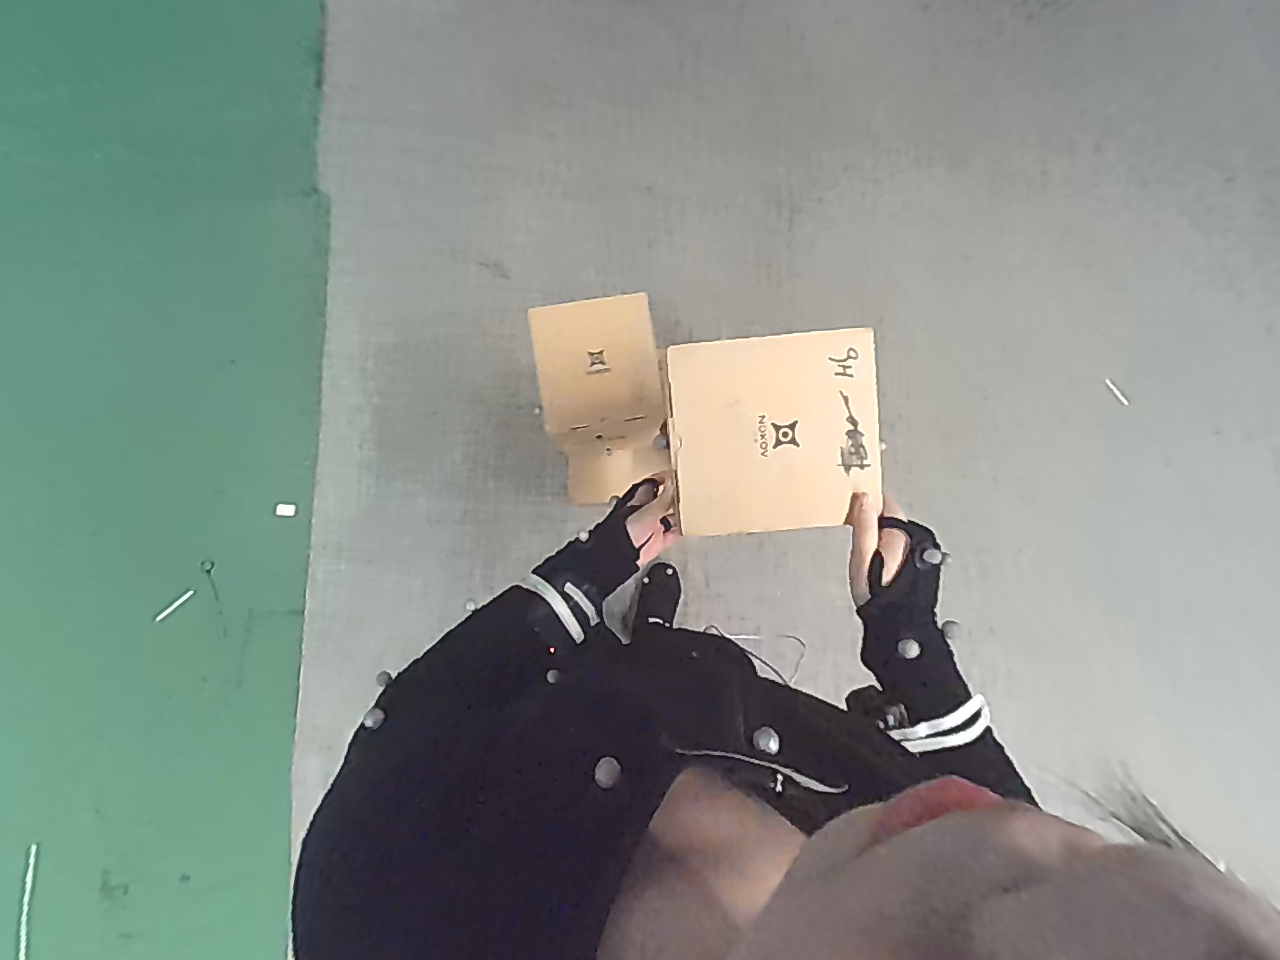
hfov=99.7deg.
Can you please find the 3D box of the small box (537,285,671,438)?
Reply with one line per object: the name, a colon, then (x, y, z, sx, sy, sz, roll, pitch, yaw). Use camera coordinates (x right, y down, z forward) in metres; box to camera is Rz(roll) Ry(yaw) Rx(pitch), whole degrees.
small box: (-0.055, -0.169, 0.817, 0.168, 0.176, 0.179, -9, 88, -4)
